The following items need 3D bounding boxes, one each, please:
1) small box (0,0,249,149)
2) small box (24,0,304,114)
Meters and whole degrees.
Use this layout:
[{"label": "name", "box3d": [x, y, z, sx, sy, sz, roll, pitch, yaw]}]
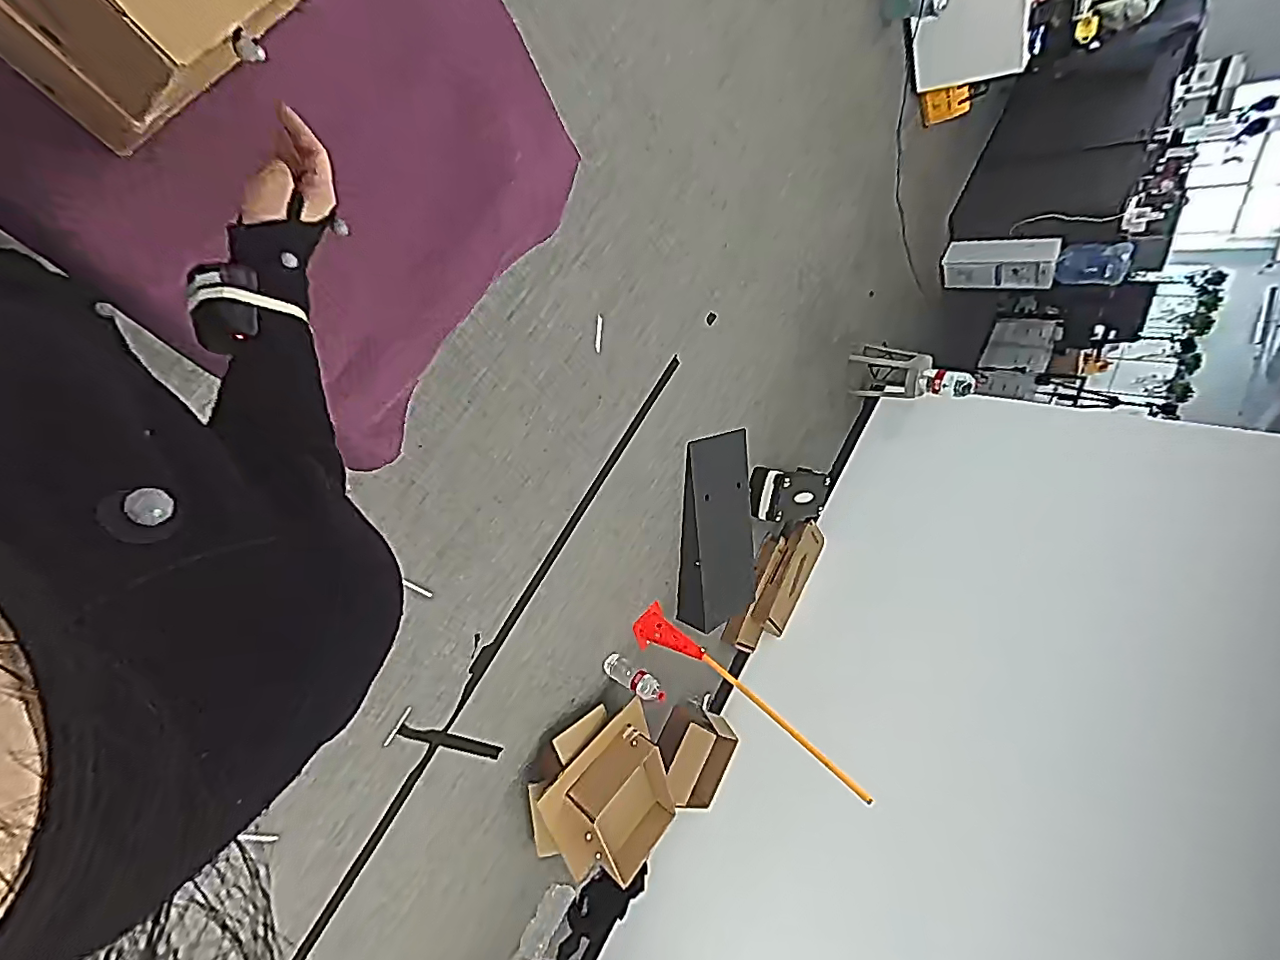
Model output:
[{"label": "small box", "box3d": [-0.454, -0.416, 0.455, 0.179, 0.176, 0.168, -59, 138, -16]}, {"label": "small box", "box3d": [-0.331, -0.379, 0.352, 0.179, 0.176, 0.168, -57, 138, -16]}]
